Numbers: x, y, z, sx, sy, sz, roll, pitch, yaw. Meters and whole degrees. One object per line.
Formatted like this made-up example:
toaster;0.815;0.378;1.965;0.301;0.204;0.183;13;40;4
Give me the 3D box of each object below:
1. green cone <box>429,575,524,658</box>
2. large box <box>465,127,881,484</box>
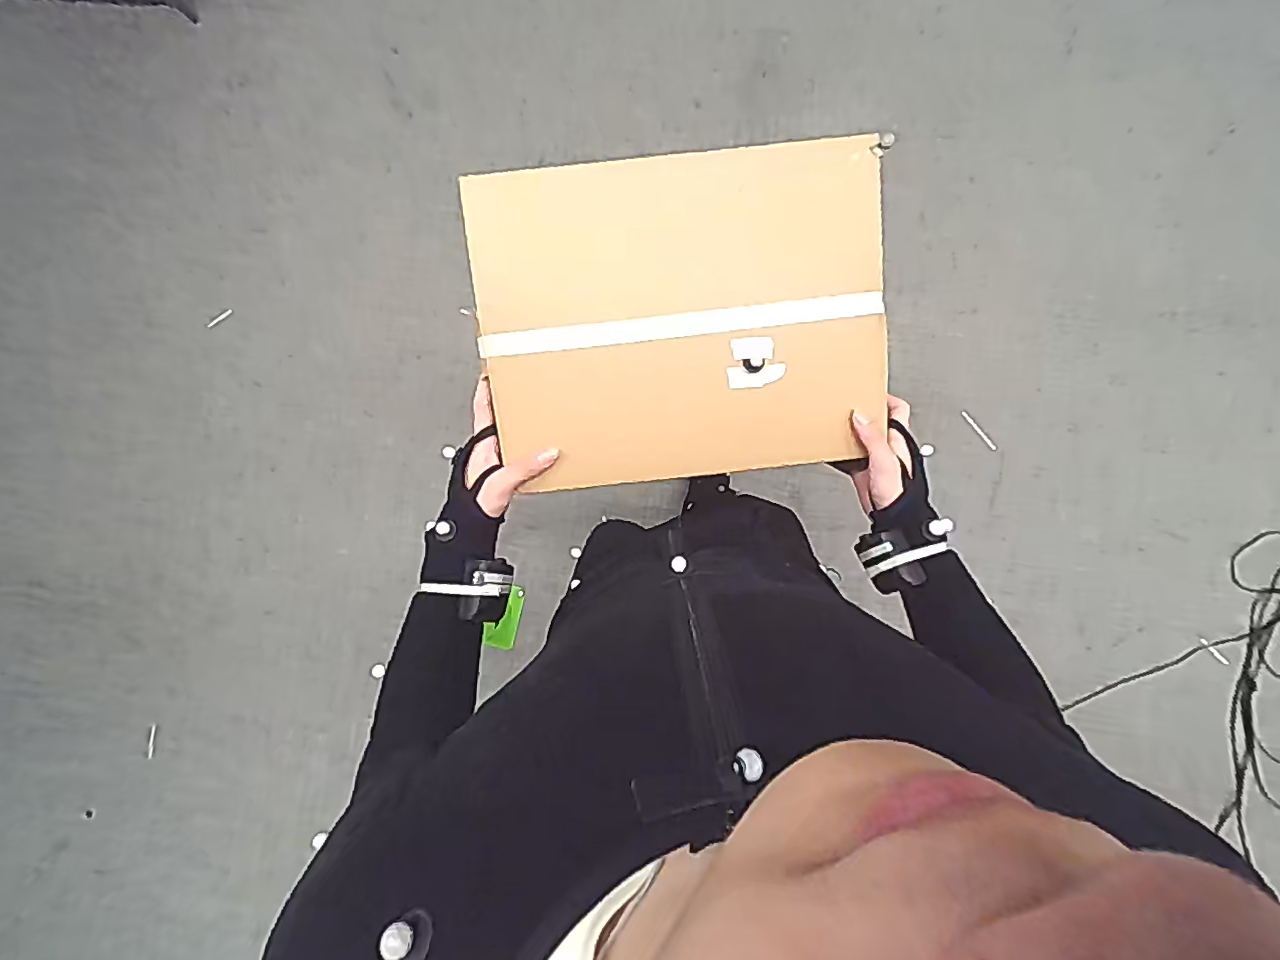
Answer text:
green cone;-0.486;0.410;1.503;0.200;0.368;0.202;13;92;5
large box;0.037;-0.195;0.696;0.408;0.320;0.320;-7;101;-1
